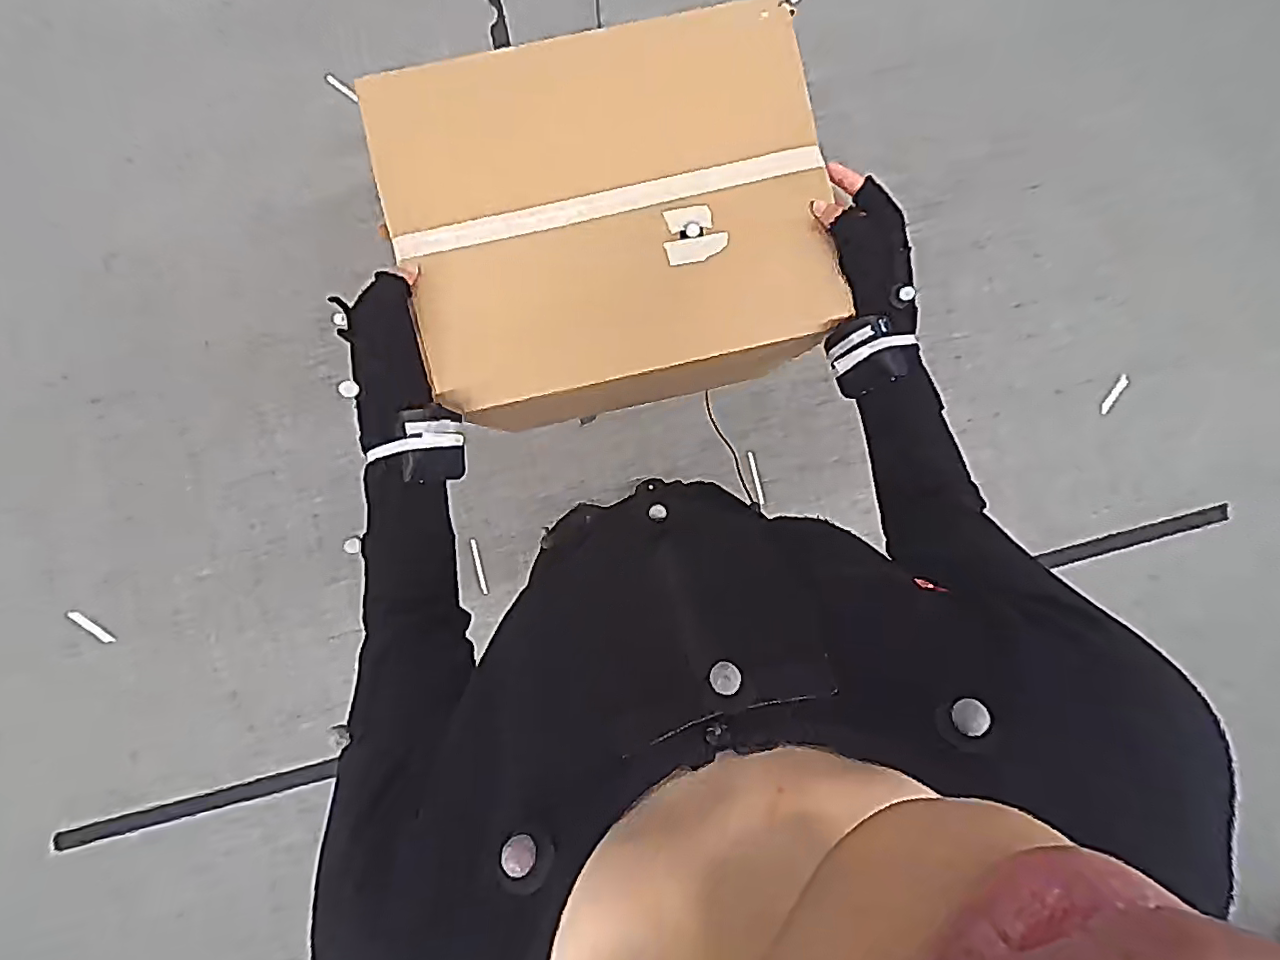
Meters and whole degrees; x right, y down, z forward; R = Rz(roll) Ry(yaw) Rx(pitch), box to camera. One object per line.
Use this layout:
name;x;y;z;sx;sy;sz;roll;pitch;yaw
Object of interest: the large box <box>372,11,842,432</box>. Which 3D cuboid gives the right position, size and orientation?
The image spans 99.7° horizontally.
large box;-0.035;-0.262;0.668;0.408;0.320;0.320;-14;93;-3
